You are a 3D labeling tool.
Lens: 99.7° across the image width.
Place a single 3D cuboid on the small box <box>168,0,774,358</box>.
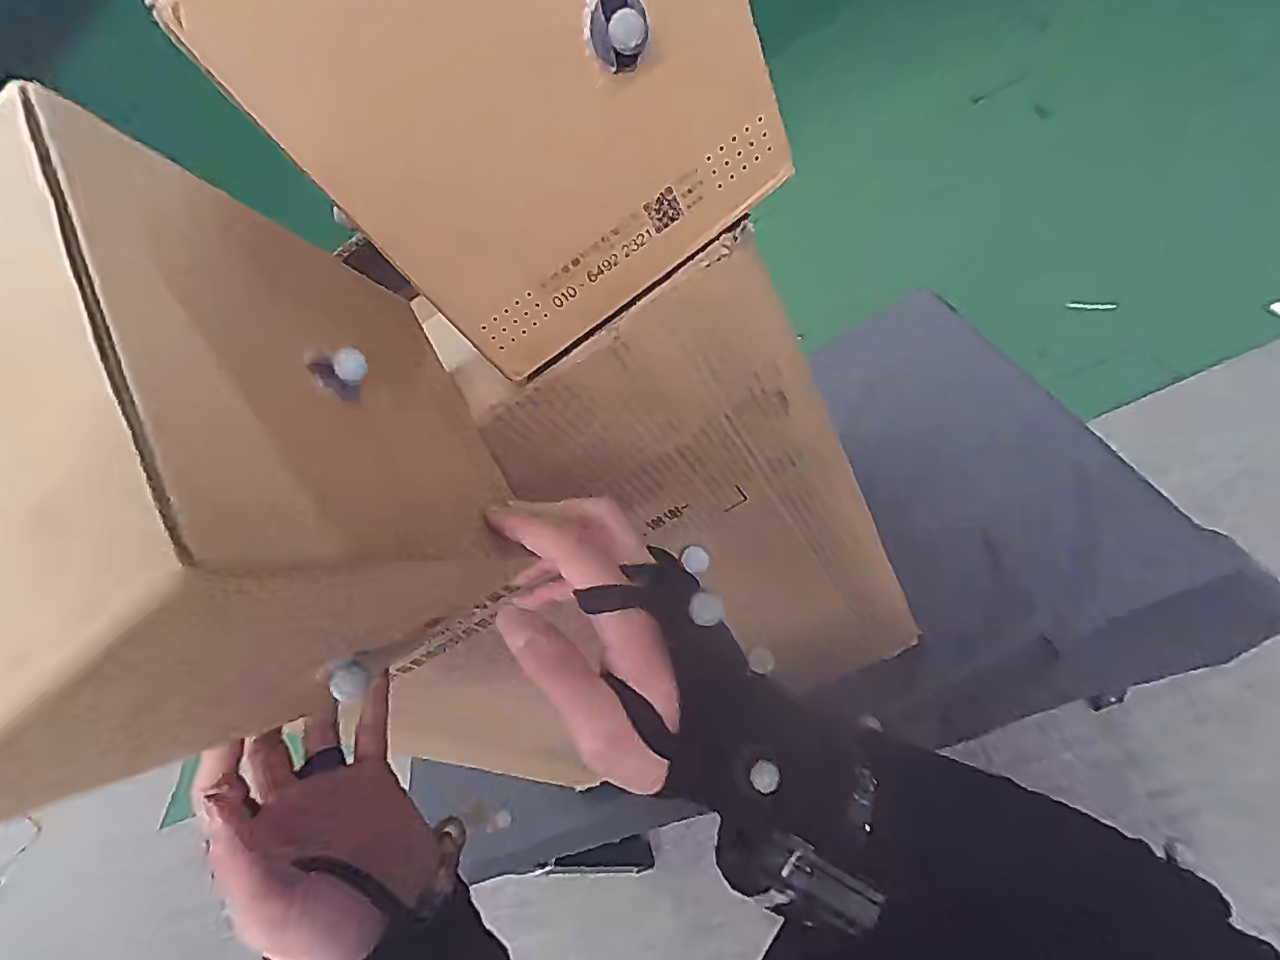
[{"bbox_3d":[-0.060,-0.187,0.261,0.168,0.176,0.179,-33,46,5],"label":"small box"}]
